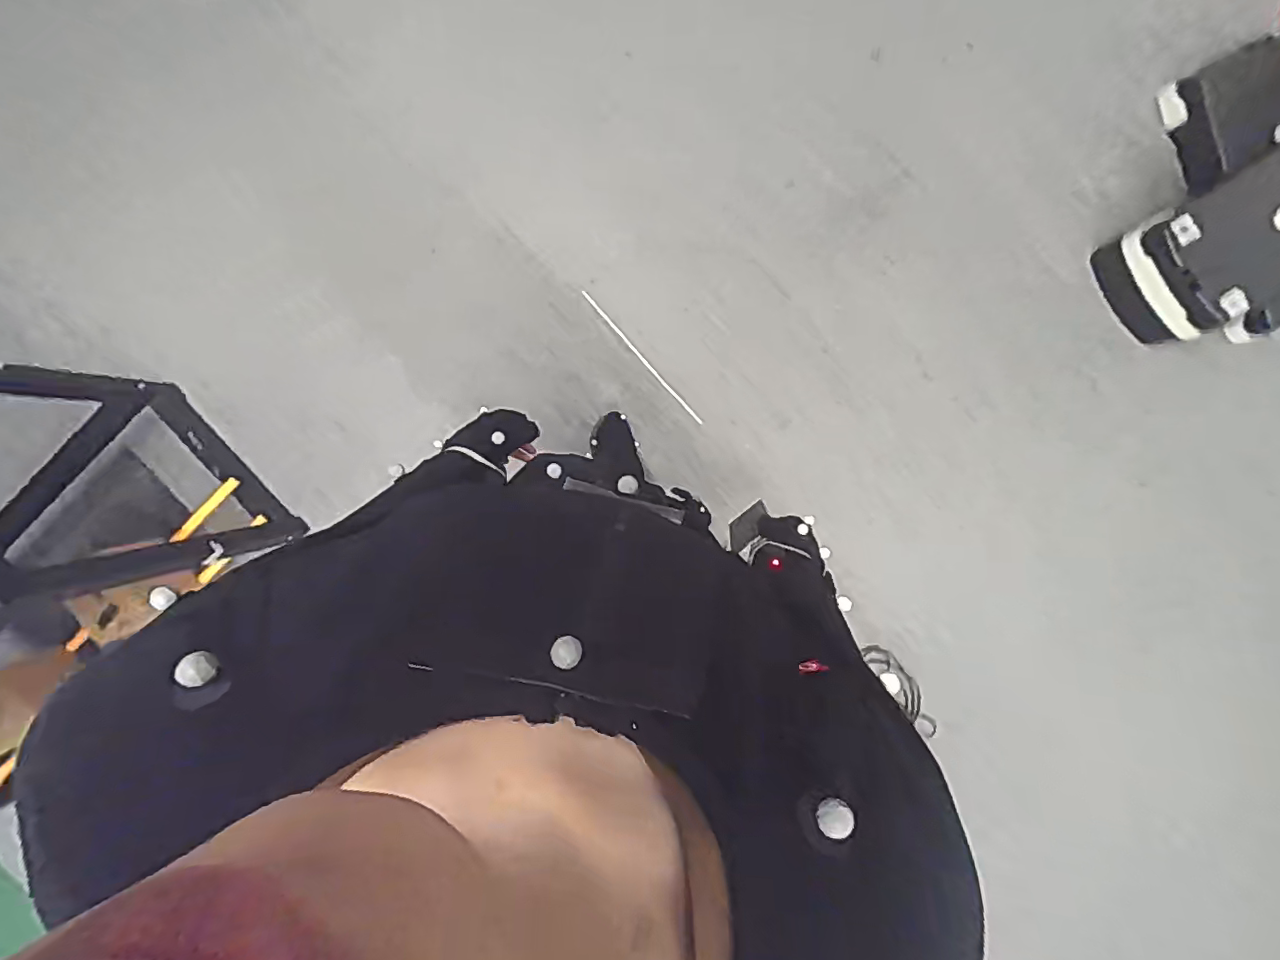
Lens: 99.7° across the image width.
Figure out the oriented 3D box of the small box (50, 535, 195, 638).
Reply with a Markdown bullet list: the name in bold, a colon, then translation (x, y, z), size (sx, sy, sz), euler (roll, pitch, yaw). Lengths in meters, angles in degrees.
- **small box**: translation (-1.309, 0.263, 1.382), size (0.168, 0.176, 0.179), euler (-39, 92, 5)
